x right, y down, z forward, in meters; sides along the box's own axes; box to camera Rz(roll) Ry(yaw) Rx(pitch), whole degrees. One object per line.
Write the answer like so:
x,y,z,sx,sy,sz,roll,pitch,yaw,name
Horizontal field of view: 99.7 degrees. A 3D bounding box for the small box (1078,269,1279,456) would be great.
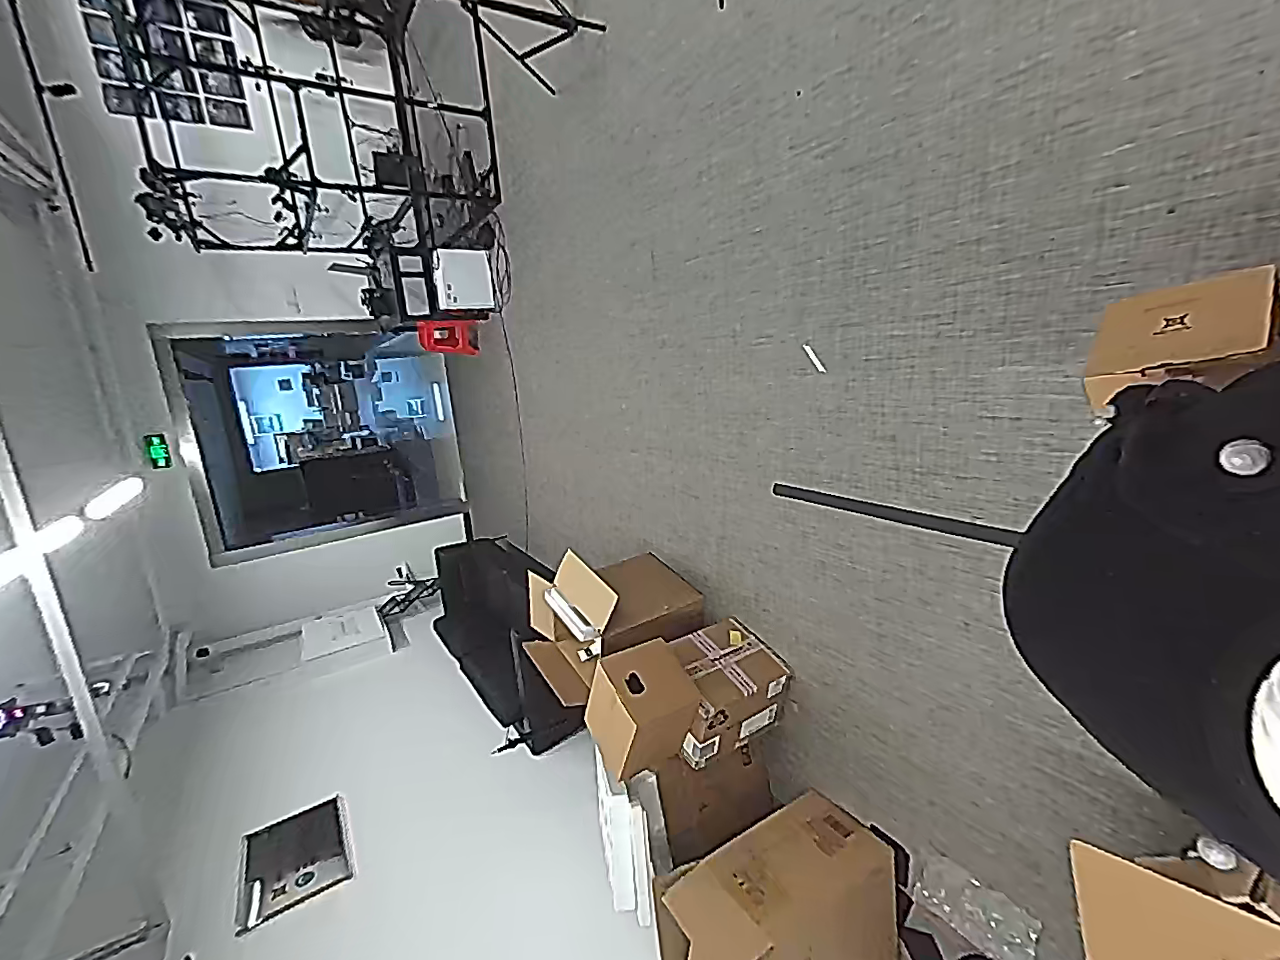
0.736,-0.145,0.737,0.168,0.179,0.176,-2,133,53,small box
